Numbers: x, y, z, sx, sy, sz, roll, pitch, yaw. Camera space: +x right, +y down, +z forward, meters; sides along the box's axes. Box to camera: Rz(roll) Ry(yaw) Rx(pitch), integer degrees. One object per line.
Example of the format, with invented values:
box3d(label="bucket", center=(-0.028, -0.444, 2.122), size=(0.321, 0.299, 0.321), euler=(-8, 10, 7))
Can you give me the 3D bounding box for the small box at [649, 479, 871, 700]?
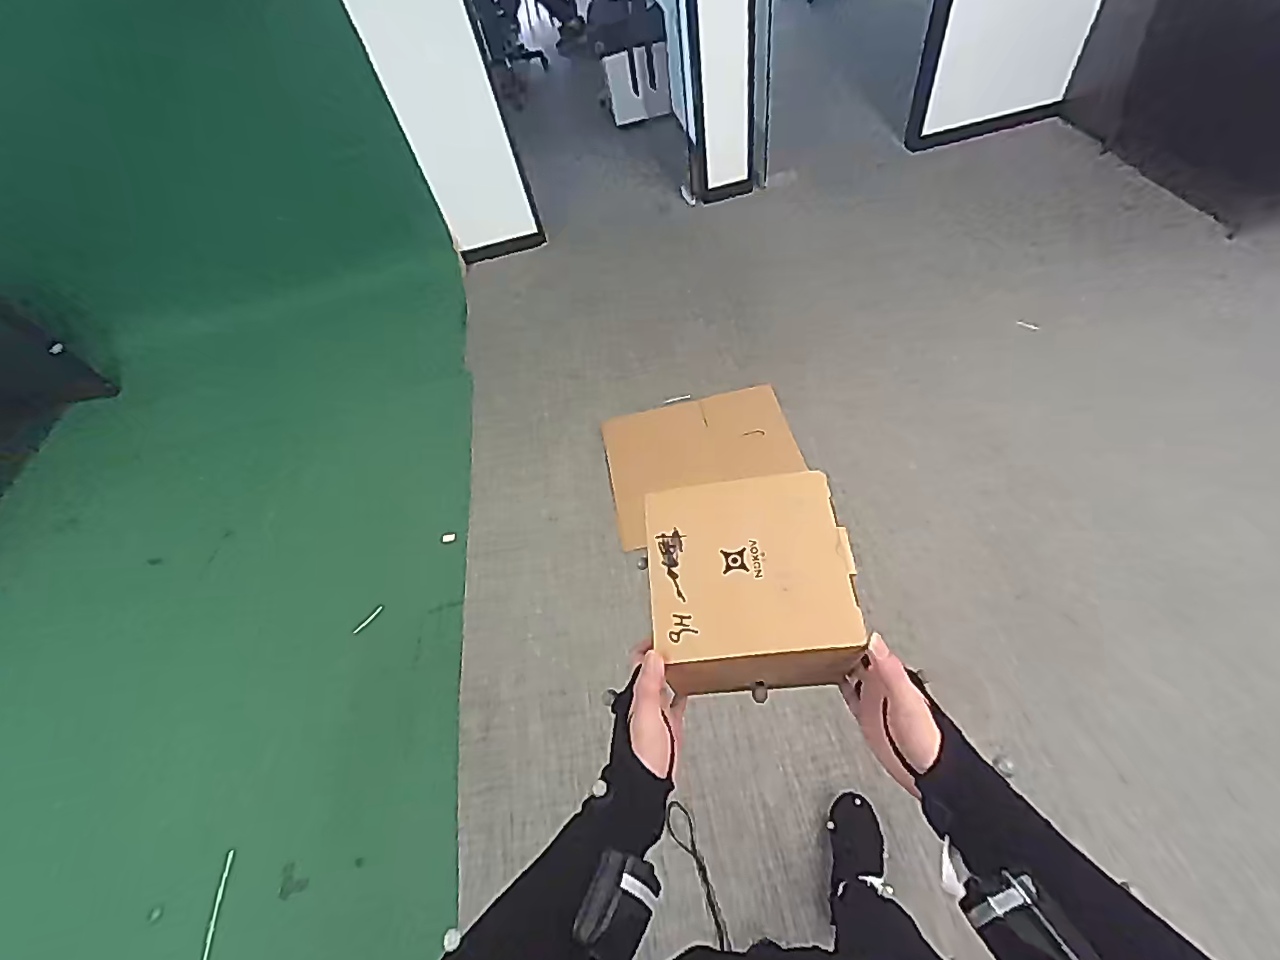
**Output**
box3d(label="small box", center=(0.108, 0.118, 0.547), size=(0.179, 0.176, 0.168), euler=(-7, 57, 6))
